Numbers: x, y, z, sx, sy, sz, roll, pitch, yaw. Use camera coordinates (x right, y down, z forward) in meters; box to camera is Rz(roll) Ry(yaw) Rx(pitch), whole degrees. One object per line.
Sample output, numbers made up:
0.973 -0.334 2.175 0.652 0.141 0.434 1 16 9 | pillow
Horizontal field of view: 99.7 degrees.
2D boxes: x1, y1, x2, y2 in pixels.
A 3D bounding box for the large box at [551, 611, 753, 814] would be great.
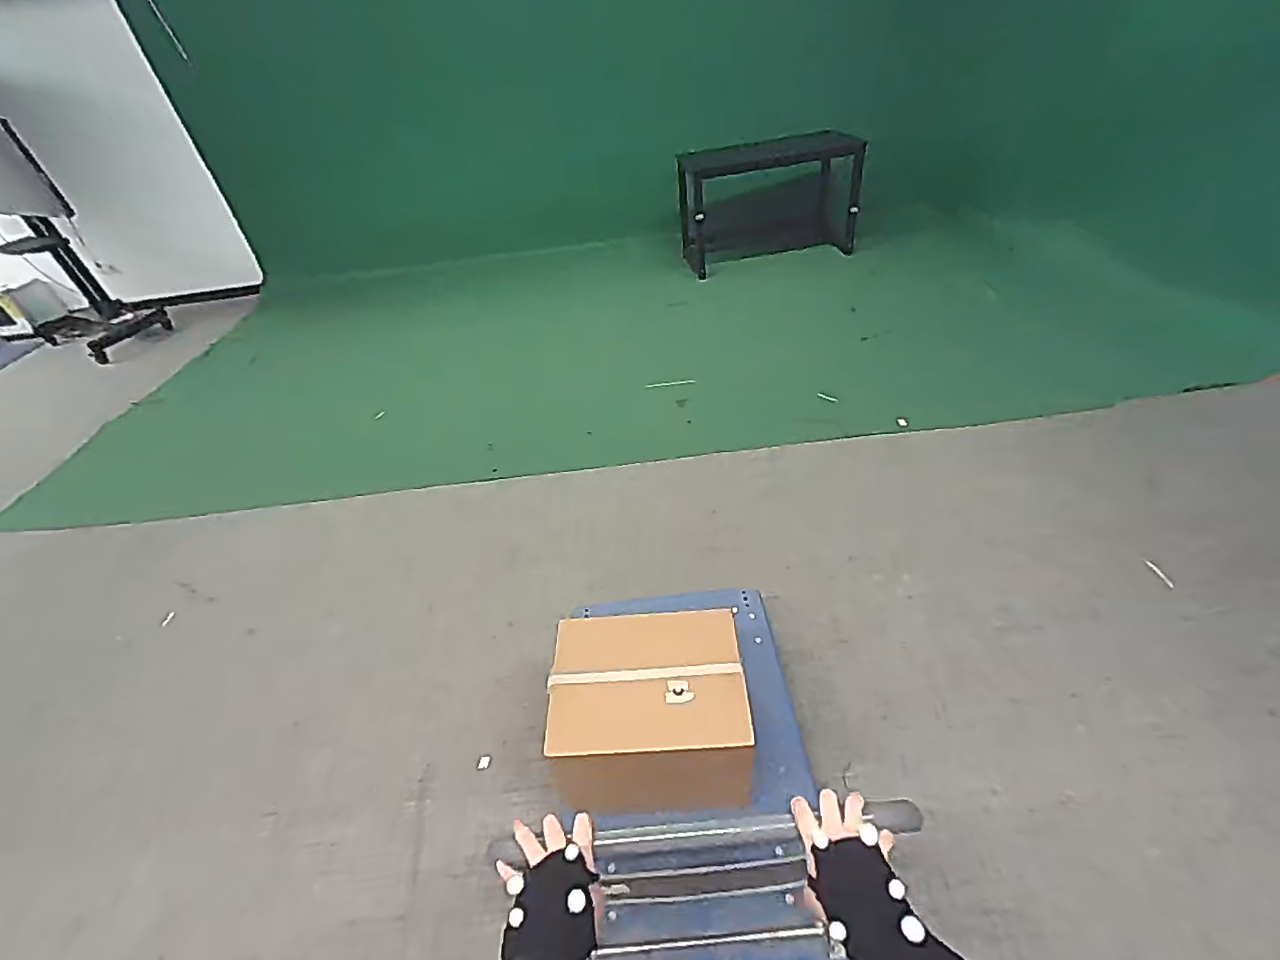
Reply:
0.028 0.536 1.249 0.408 0.320 0.320 -4 40 2 | large box
